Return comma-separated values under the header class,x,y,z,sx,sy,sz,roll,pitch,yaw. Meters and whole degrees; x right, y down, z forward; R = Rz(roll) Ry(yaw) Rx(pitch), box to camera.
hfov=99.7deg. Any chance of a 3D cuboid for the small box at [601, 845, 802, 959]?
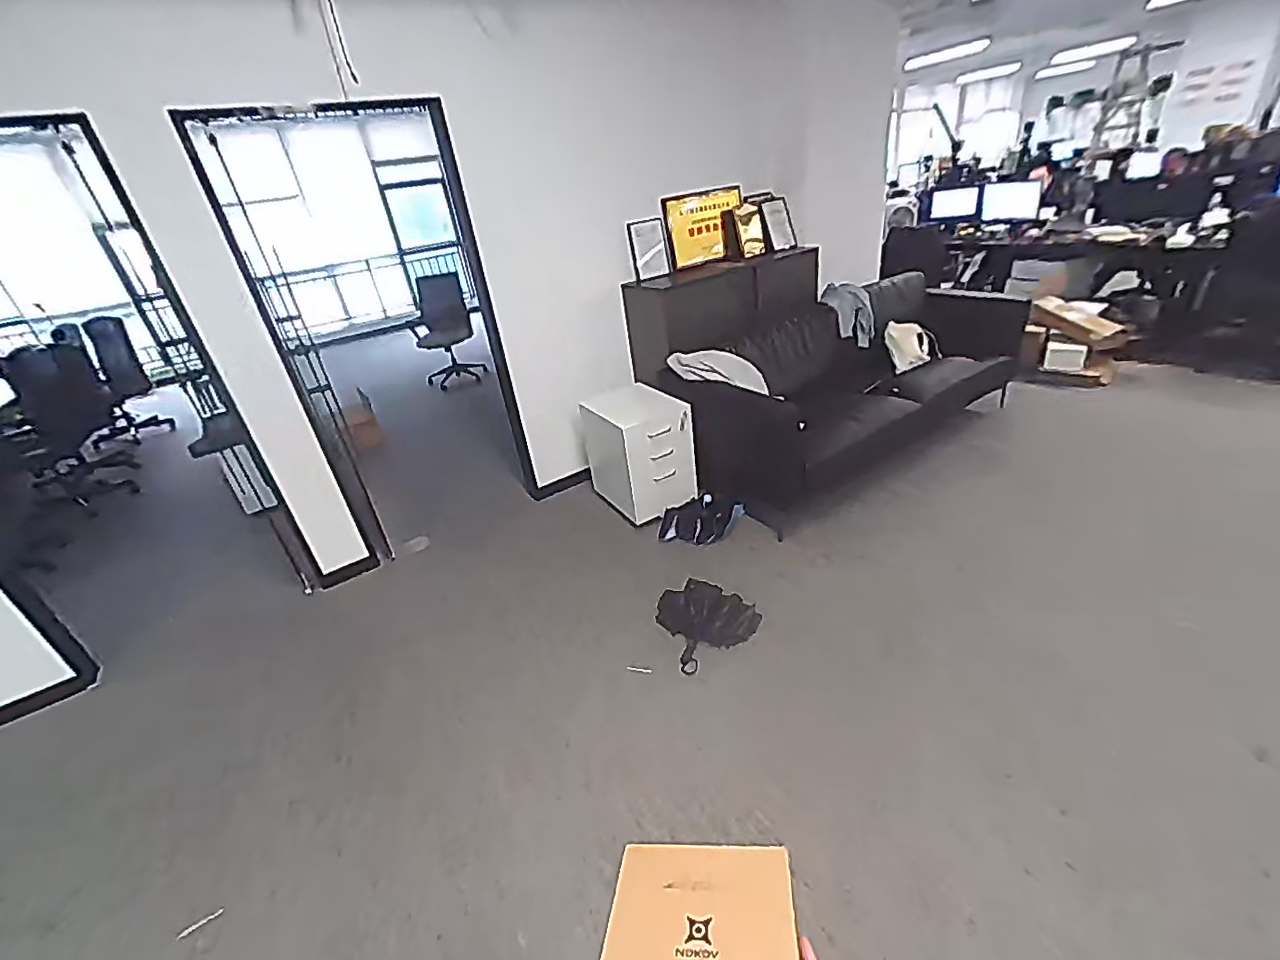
class,x,y,z,sx,sy,sz,roll,pitch,yaw
small box,0.063,0.468,0.478,0.168,0.176,0.179,-6,12,11
